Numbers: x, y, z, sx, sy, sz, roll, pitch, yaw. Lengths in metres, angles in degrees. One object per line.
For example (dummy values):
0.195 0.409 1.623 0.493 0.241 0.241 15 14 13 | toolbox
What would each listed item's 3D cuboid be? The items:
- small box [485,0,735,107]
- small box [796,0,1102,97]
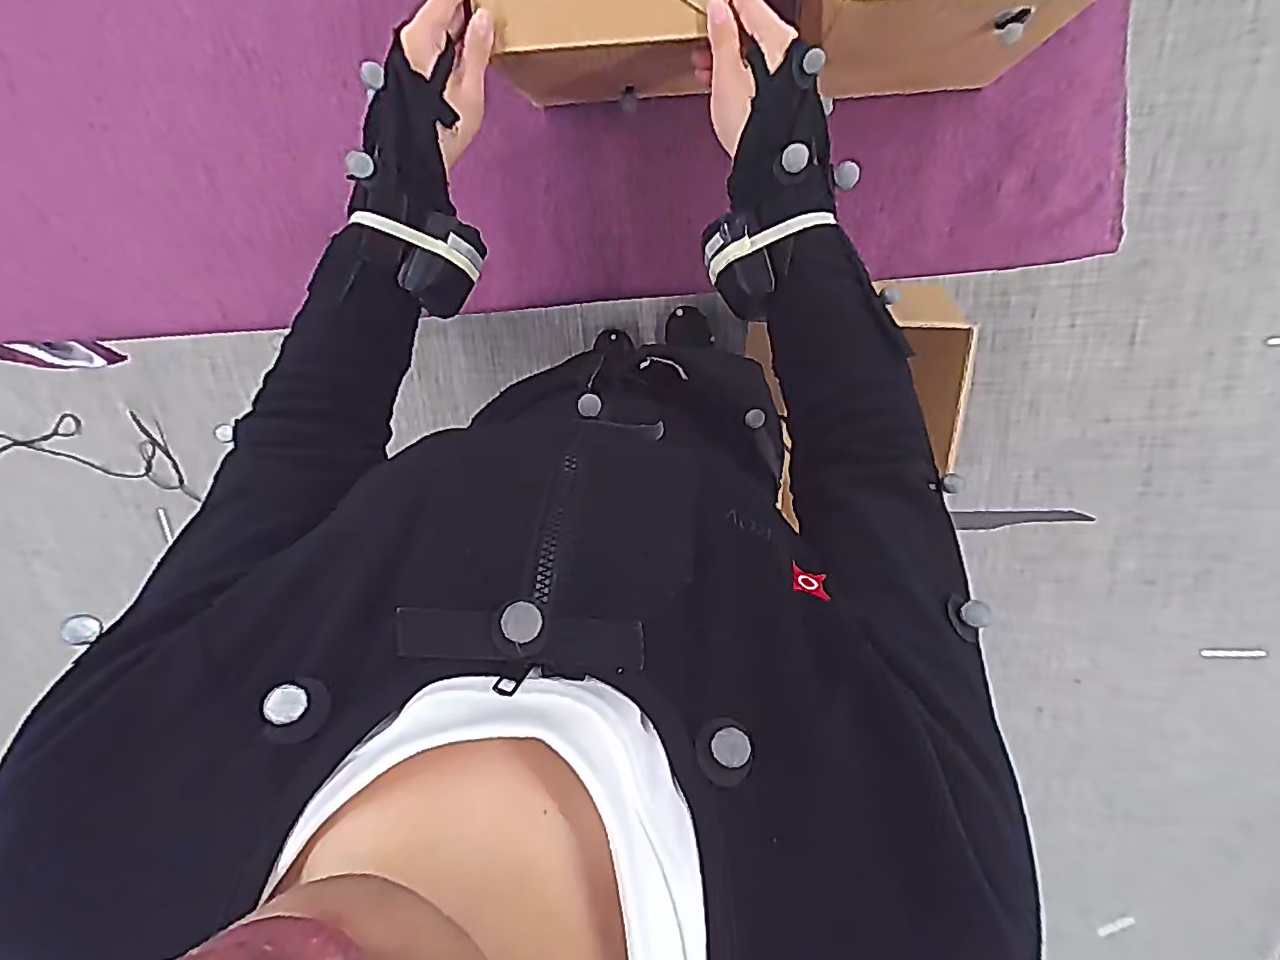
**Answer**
-0.021 -0.406 0.409 0.179 0.176 0.168 0 113 6 | small box
0.226 -0.415 0.403 0.179 0.176 0.168 -1 105 5 | small box
